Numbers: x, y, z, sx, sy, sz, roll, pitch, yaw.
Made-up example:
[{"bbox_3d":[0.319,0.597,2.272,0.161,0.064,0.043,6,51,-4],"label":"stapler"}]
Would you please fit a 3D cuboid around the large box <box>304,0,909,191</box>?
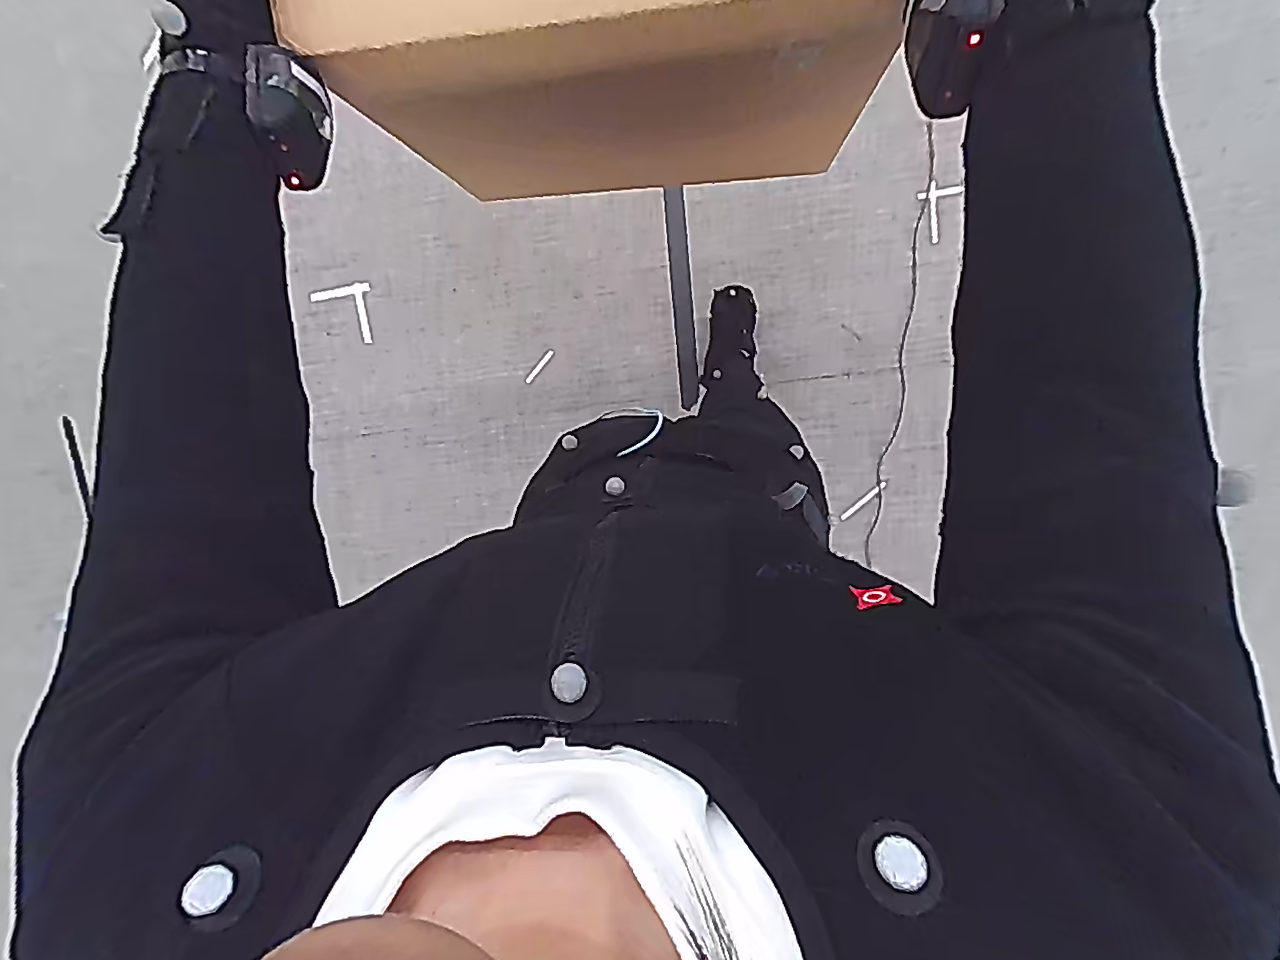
[{"bbox_3d":[-0.015,-0.471,0.451,0.408,0.320,0.320,-2,102,7],"label":"large box"}]
